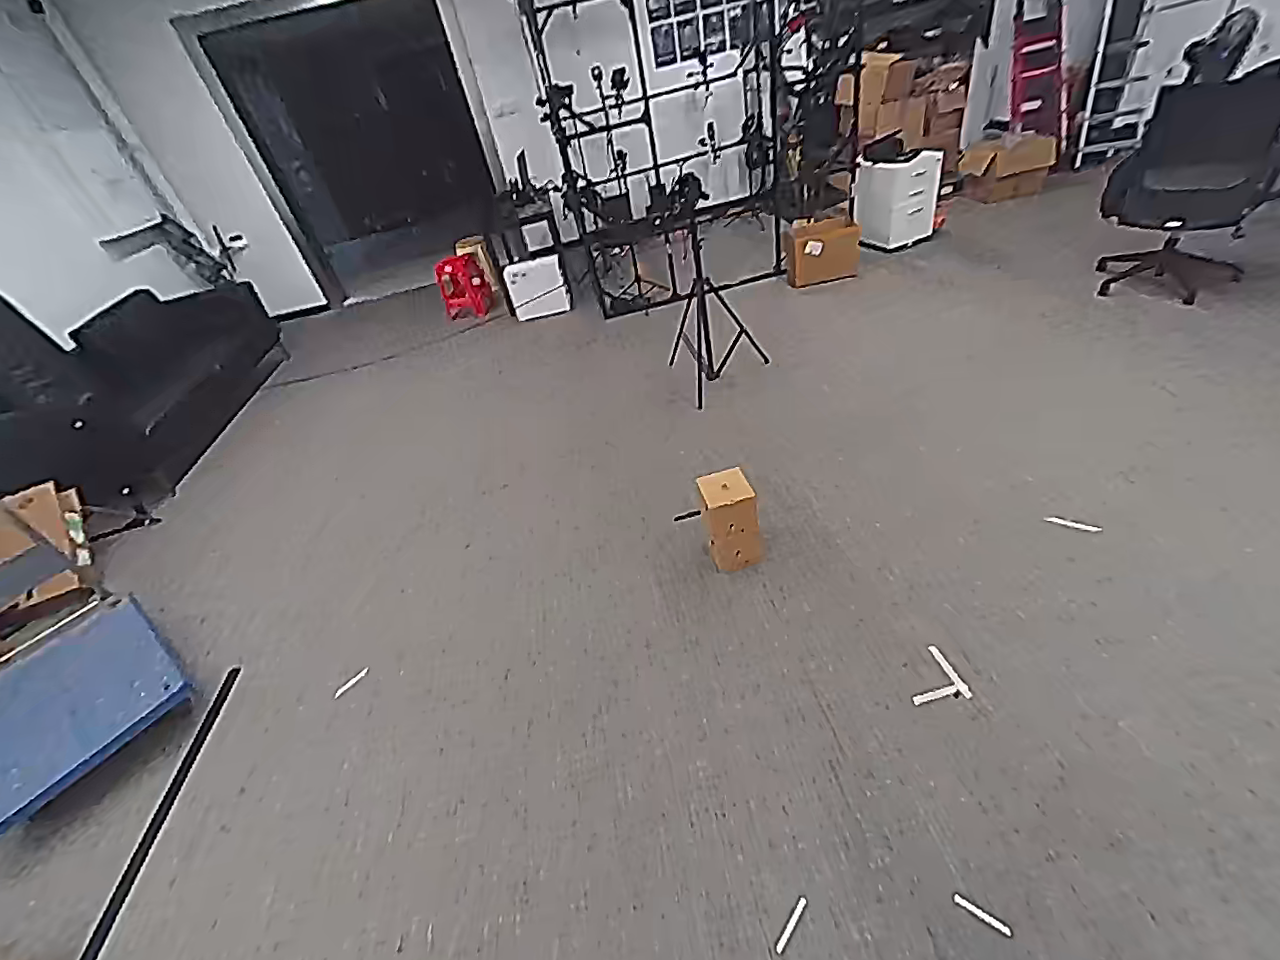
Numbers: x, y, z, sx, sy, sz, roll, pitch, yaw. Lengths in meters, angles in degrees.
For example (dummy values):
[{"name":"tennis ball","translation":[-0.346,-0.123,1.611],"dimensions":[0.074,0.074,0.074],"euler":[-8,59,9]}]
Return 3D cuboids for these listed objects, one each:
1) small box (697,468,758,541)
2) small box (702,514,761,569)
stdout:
[{"name":"small box","translation":[0.311,0.088,1.929],"dimensions":[0.168,0.176,0.179],"euler":[-17,38,-3]},{"name":"small box","translation":[0.344,0.214,2.027],"dimensions":[0.168,0.176,0.179],"euler":[-17,37,-4]}]
